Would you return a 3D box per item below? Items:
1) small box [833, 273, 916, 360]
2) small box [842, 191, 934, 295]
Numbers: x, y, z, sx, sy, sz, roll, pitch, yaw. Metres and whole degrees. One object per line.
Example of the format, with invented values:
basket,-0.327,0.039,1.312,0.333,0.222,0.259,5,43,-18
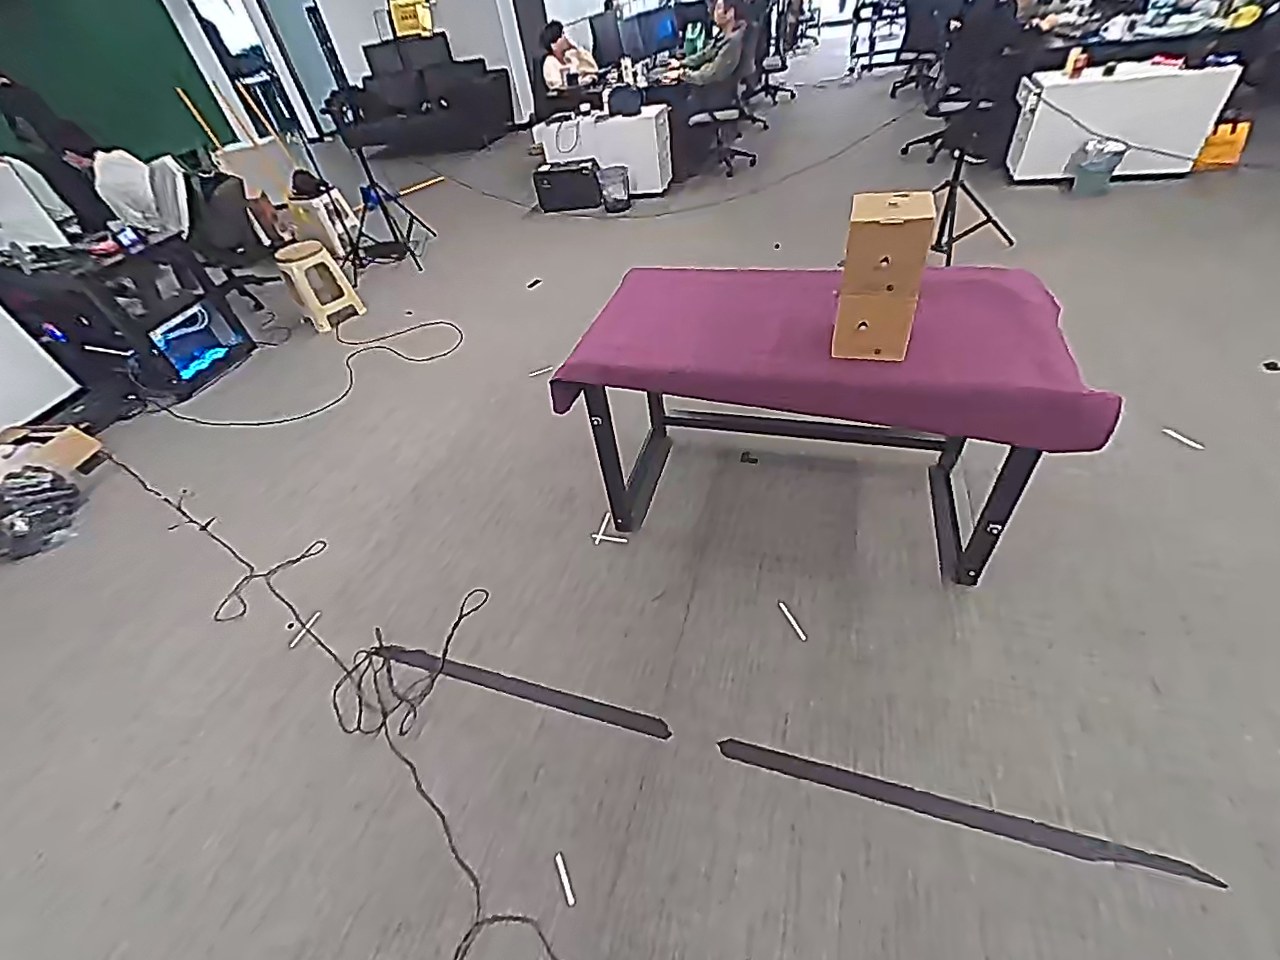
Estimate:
small box,0.576,-0.412,1.336,0.168,0.176,0.179,7,45,18
small box,0.557,-0.533,1.227,0.168,0.176,0.179,8,46,18
